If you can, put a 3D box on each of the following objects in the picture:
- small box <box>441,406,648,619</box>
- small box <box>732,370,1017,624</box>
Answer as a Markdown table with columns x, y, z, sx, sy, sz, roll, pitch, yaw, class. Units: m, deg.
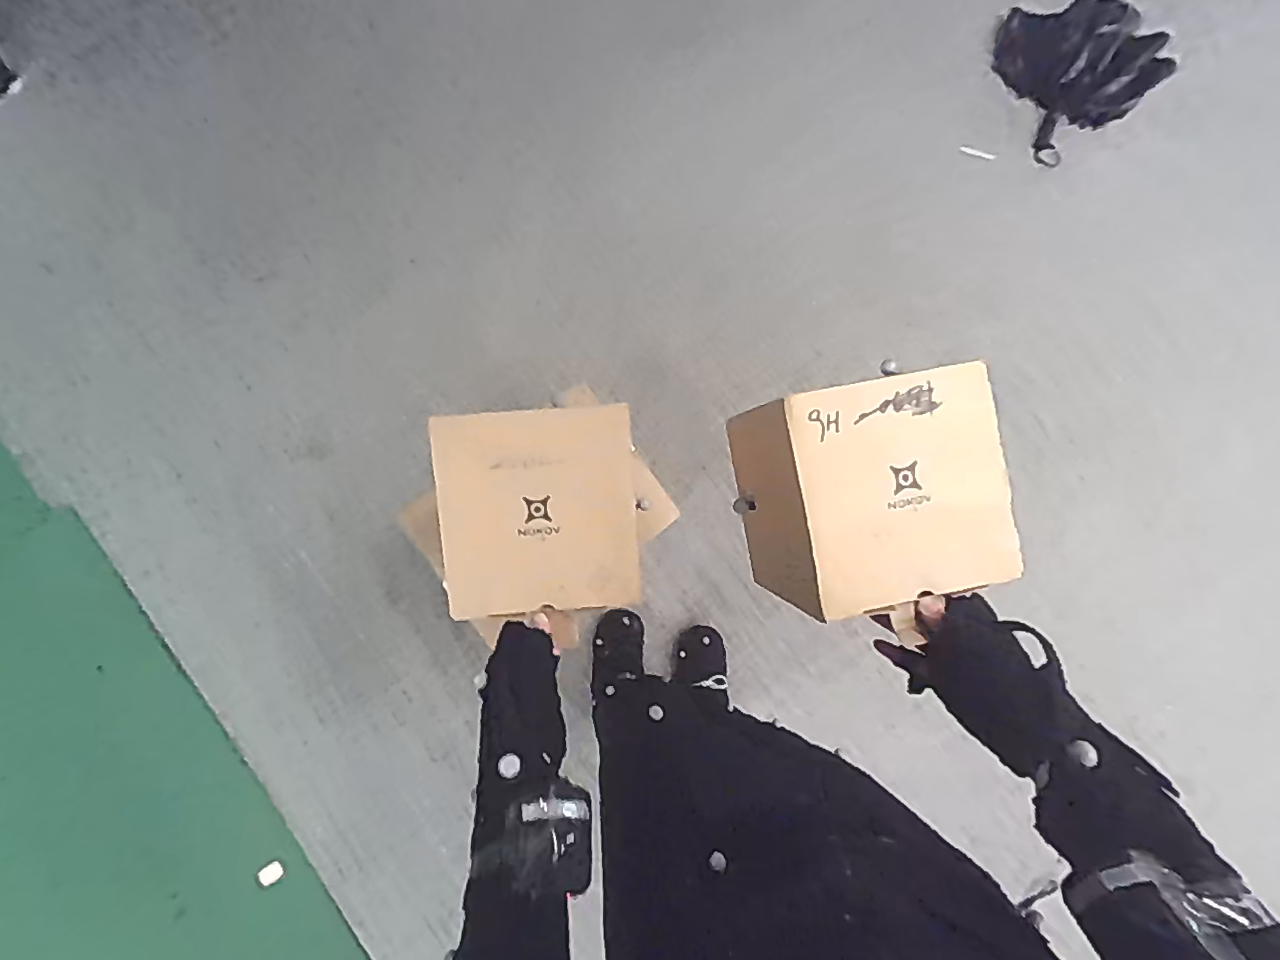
| x | y | z | sx | sy | sz | roll | pitch | yaw | class |
| --- | --- | --- | --- | --- | --- | --- | --- | --- | --- |
| -0.081 | 0.020 | 0.535 | 0.168 | 0.176 | 0.179 | -4 | 95 | -3 | small box |
| 0.196 | 0.010 | 0.496 | 0.168 | 0.176 | 0.179 | -11 | 92 | -6 | small box |
